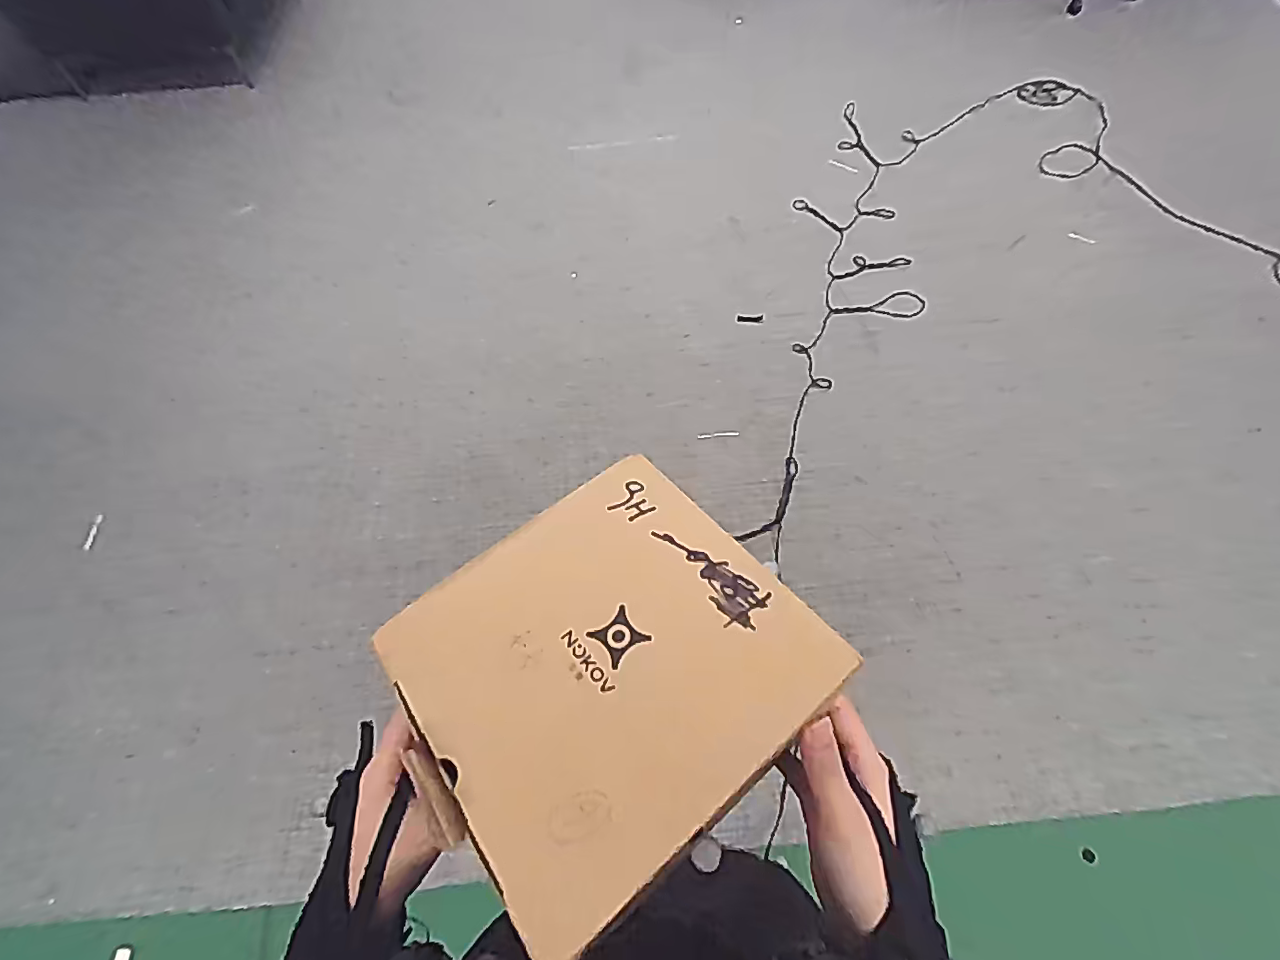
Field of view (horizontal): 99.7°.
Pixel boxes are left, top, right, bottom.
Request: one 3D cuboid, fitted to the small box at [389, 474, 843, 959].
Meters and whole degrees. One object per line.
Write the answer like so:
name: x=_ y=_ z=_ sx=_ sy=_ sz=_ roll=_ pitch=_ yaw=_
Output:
small box: x=-0.009 y=0.137 z=0.333 sx=0.179 sy=0.176 sz=0.168 roll=-35 pitch=58 yaw=-19
